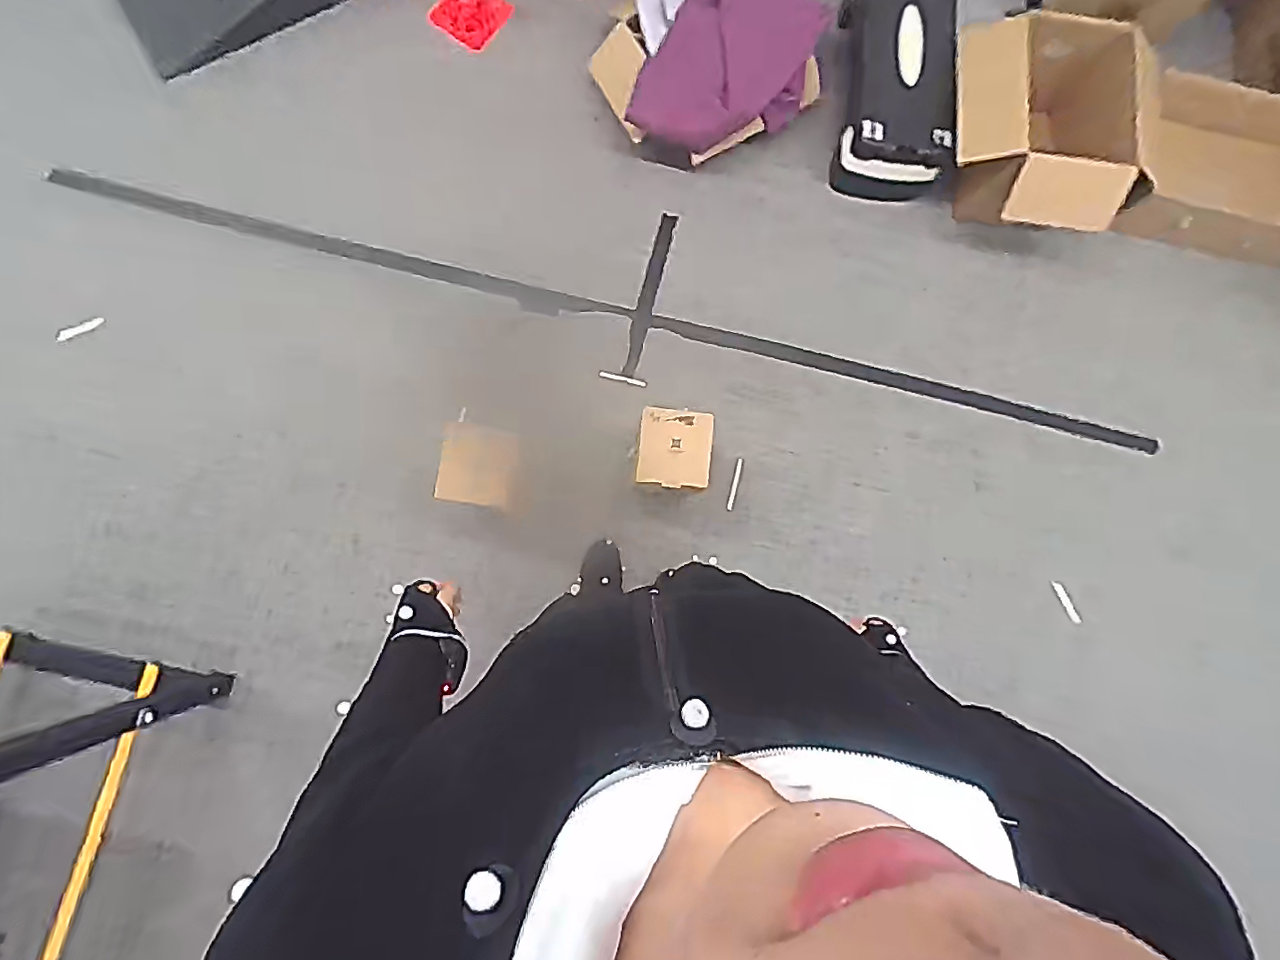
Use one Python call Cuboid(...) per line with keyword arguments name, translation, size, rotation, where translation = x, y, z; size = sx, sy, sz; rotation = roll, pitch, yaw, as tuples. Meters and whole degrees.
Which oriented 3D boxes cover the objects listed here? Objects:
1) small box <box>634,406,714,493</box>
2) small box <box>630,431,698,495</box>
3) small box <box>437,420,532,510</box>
Cuboid(name="small box", translation=(0.075, -0.066, 1.301), size=(0.168, 0.176, 0.179), rotation=(7, 84, -2))
Cuboid(name="small box", translation=(0.071, -0.055, 1.464), size=(0.179, 0.176, 0.168), rotation=(8, 83, -2))
Cuboid(name="small box", translation=(-0.357, -0.029, 1.273), size=(0.168, 0.176, 0.179), rotation=(8, 84, -1))
